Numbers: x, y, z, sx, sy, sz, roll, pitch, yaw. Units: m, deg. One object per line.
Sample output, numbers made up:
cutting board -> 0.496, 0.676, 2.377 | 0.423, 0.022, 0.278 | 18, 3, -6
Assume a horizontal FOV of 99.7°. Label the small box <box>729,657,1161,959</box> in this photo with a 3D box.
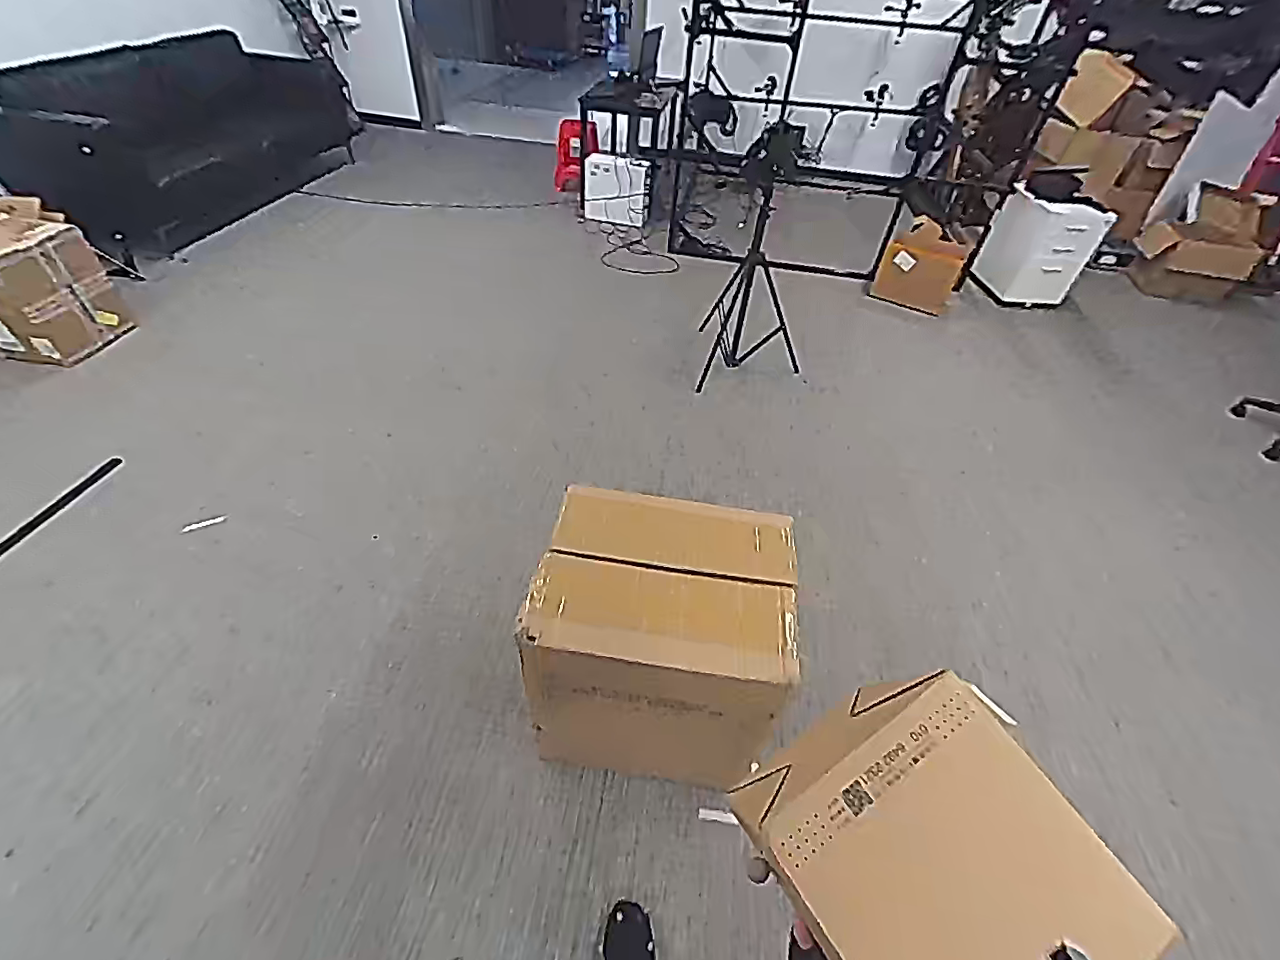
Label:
small box -> 0.184, 0.249, 0.391 | 0.168, 0.179, 0.176 | -34, 69, -12
